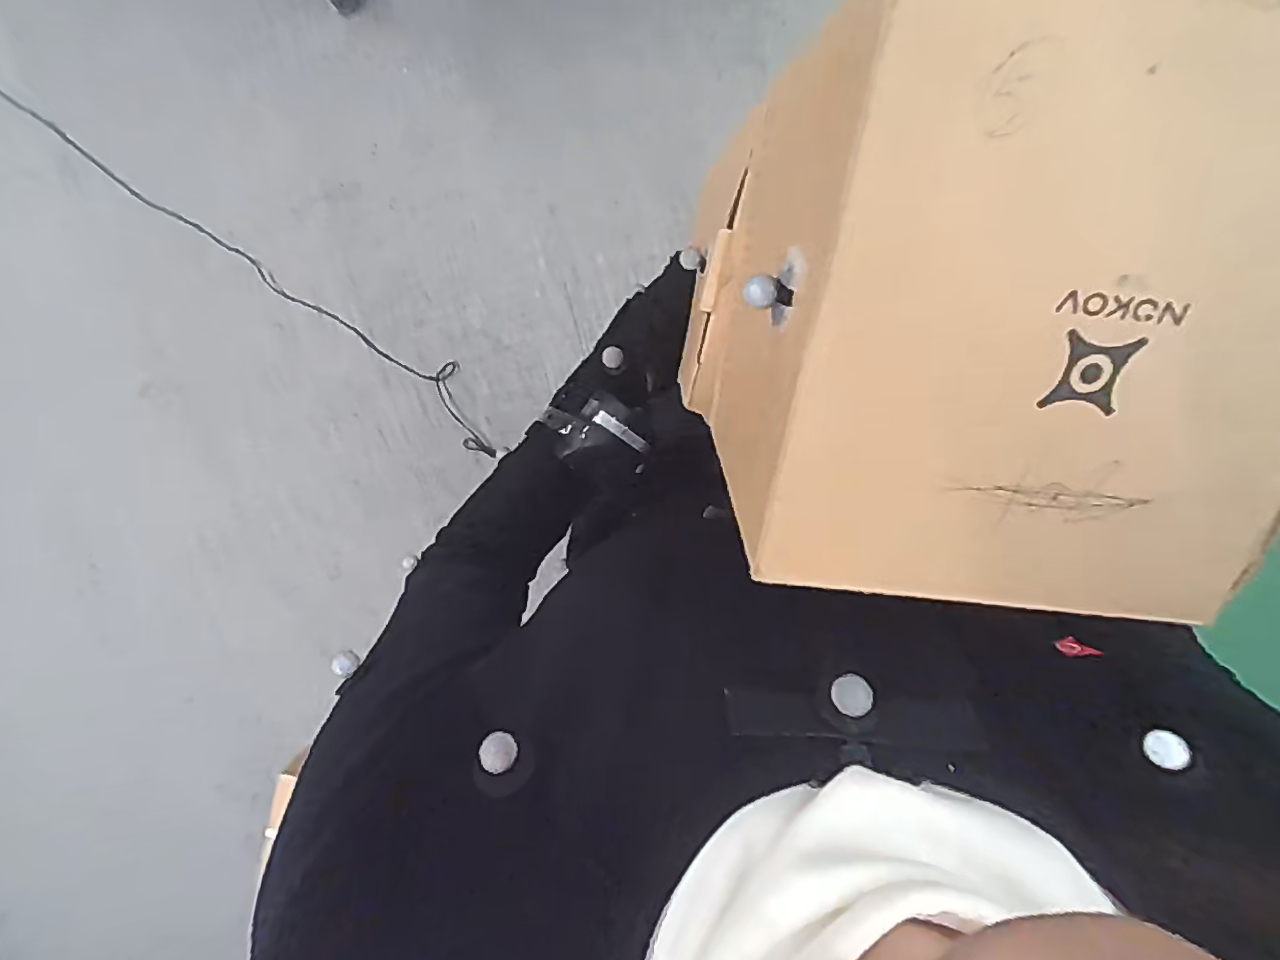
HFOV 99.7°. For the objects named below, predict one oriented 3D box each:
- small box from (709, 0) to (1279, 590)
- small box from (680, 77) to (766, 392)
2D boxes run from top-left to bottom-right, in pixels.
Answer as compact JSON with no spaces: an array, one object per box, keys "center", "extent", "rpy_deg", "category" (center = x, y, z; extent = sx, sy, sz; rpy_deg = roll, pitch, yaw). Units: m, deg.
[{"center":[0.126,-0.081,0.226],"extent":[0.168,0.176,0.179],"rpy_deg":[6,115,-1],"category":"small box"},{"center":[0.127,-0.147,0.379],"extent":[0.179,0.176,0.168],"rpy_deg":[8,113,-3],"category":"small box"}]
